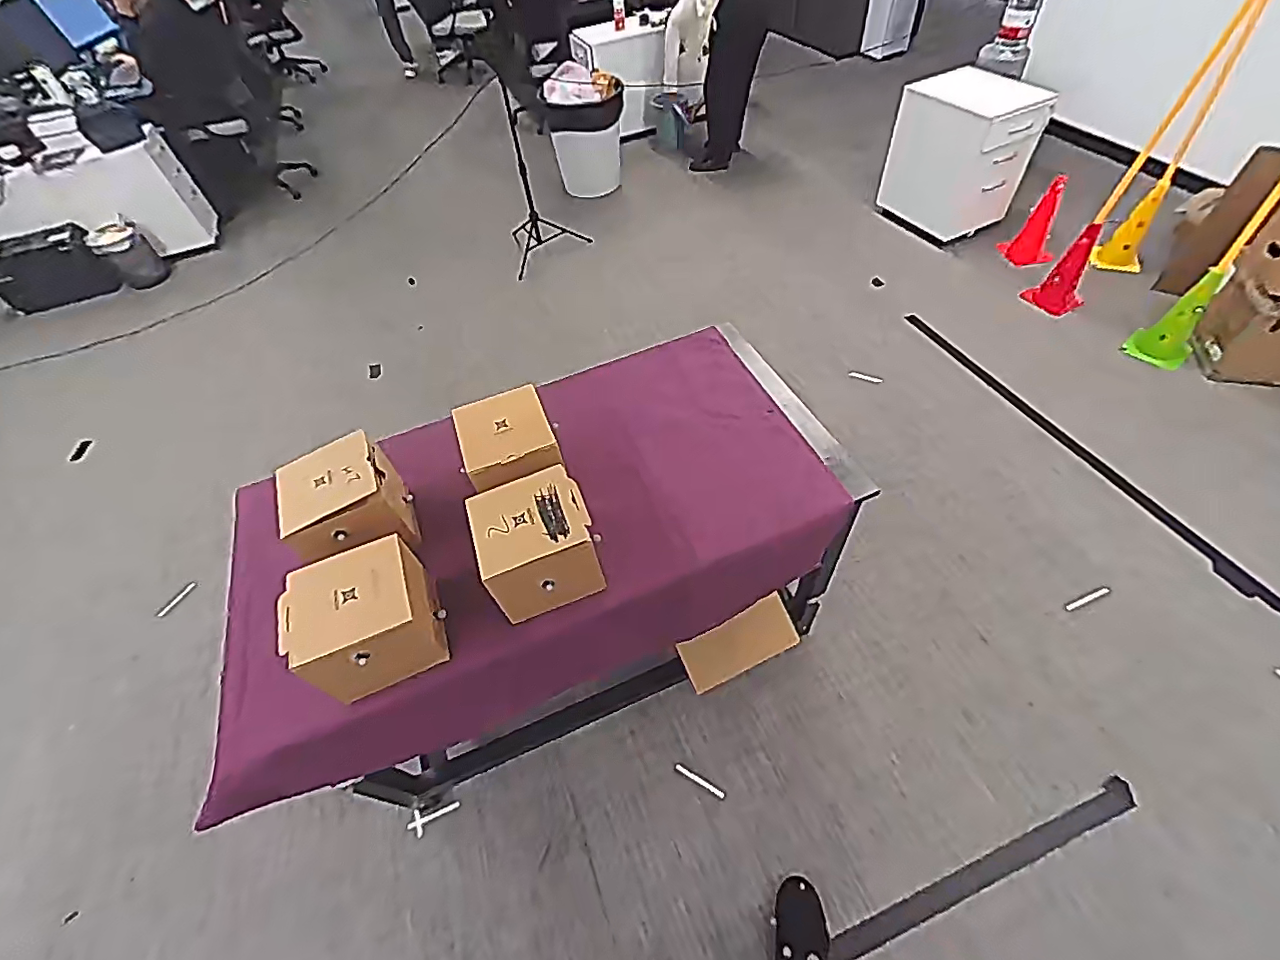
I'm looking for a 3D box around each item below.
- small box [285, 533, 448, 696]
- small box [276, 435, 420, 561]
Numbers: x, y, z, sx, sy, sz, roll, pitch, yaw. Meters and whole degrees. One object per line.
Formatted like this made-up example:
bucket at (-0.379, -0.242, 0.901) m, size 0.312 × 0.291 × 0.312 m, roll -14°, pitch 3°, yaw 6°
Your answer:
small box at (-0.434, 0.220, 0.869) m, size 0.179 × 0.176 × 0.168 m, roll -21°, pitch 54°, yaw -11°
small box at (-0.539, 0.052, 1.006) m, size 0.179 × 0.176 × 0.168 m, roll -22°, pitch 55°, yaw -12°
